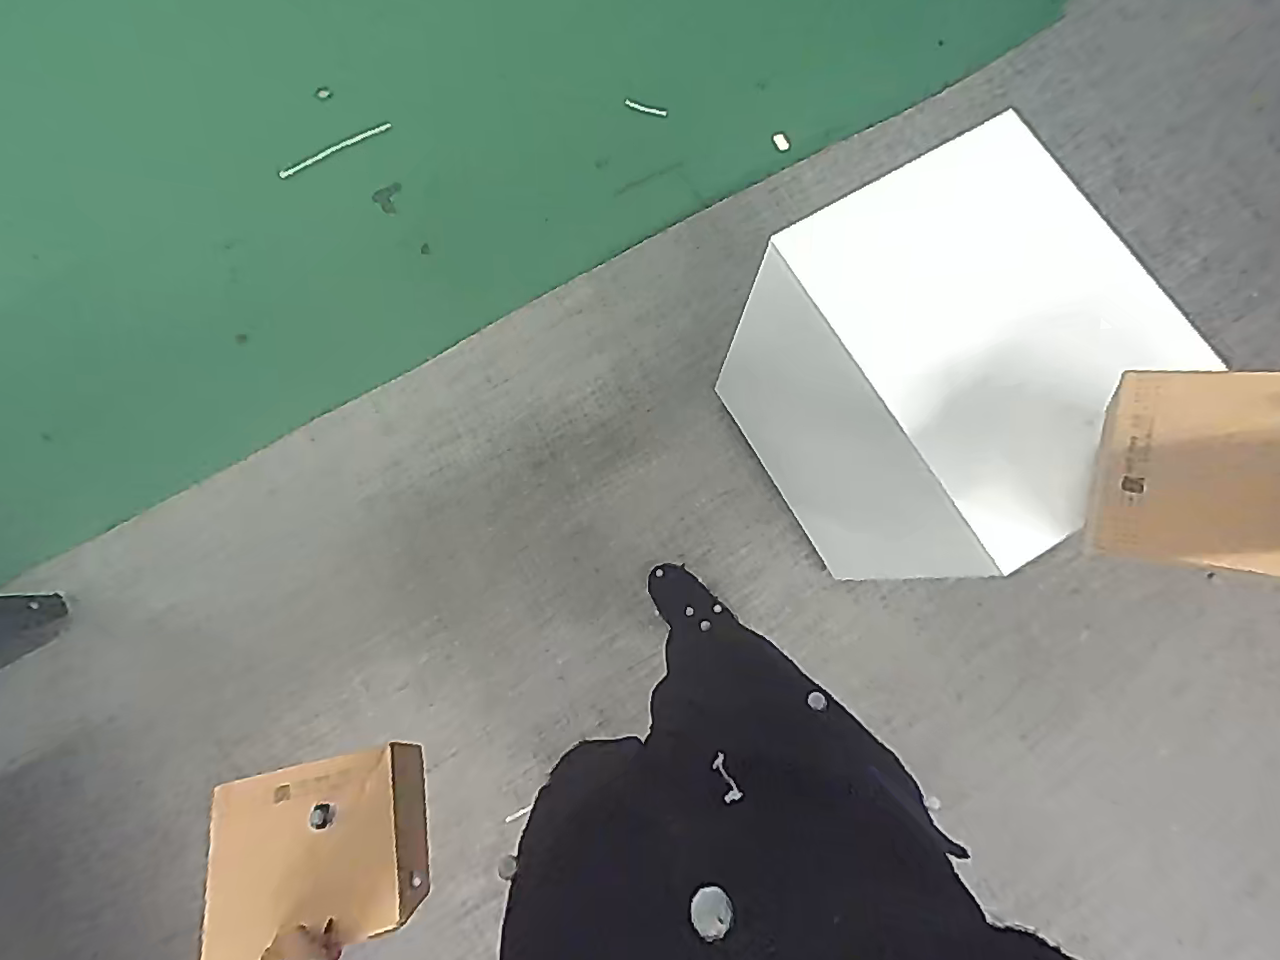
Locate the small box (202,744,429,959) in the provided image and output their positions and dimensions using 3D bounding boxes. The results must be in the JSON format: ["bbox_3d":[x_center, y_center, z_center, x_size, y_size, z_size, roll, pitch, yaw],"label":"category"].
[{"bbox_3d":[-0.335,0.398,0.594,0.168,0.179,0.176,-8,65,-14],"label":"small box"}]
